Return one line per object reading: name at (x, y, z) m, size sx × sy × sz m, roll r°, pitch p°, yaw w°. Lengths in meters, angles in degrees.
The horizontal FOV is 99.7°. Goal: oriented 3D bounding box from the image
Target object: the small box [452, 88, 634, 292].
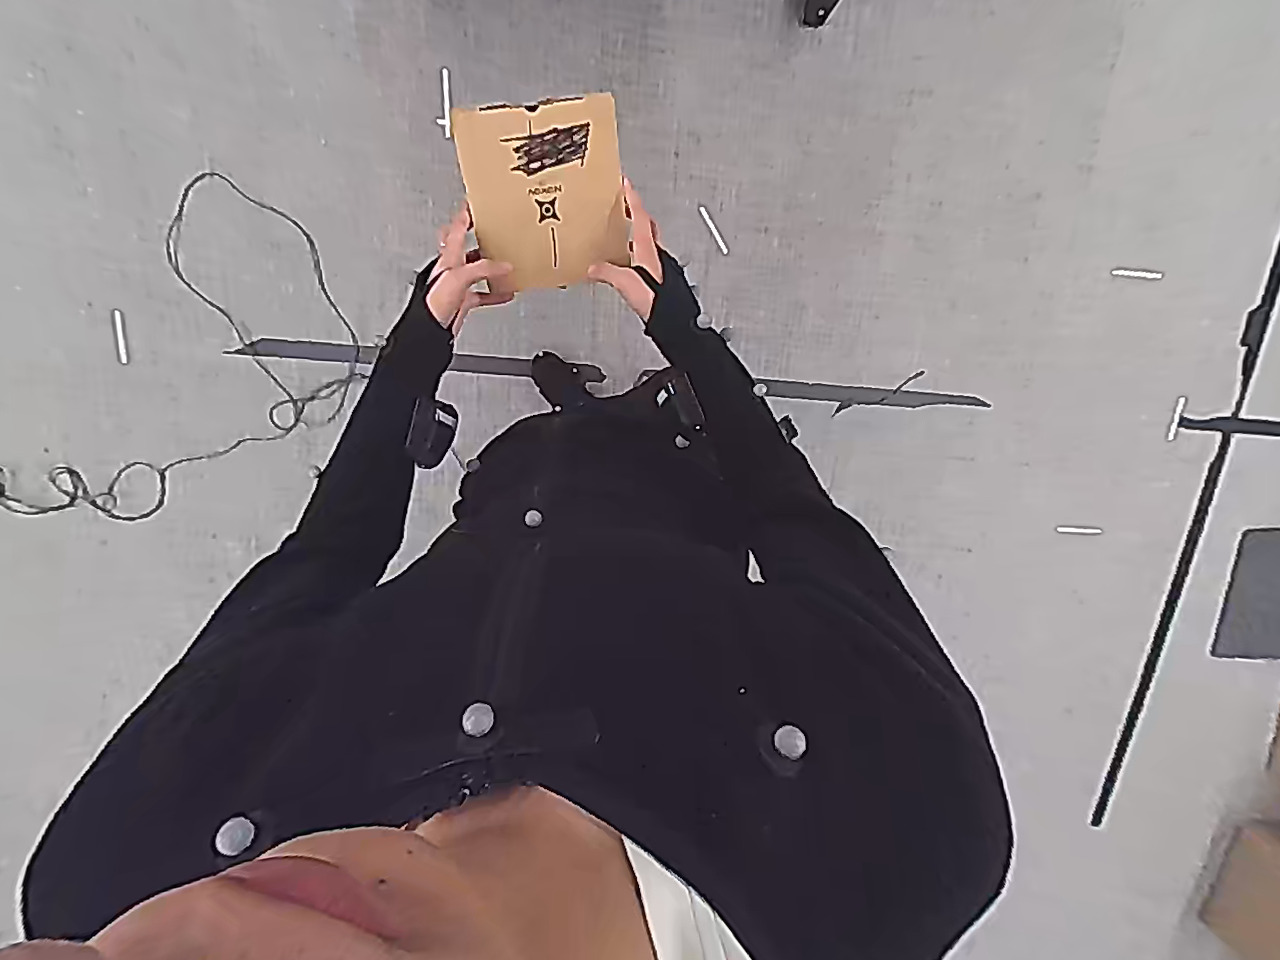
small box at (-0.101, -0.329, 0.630) m, size 0.168 × 0.176 × 0.179 m, roll -7°, pitch 118°, yaw -1°
